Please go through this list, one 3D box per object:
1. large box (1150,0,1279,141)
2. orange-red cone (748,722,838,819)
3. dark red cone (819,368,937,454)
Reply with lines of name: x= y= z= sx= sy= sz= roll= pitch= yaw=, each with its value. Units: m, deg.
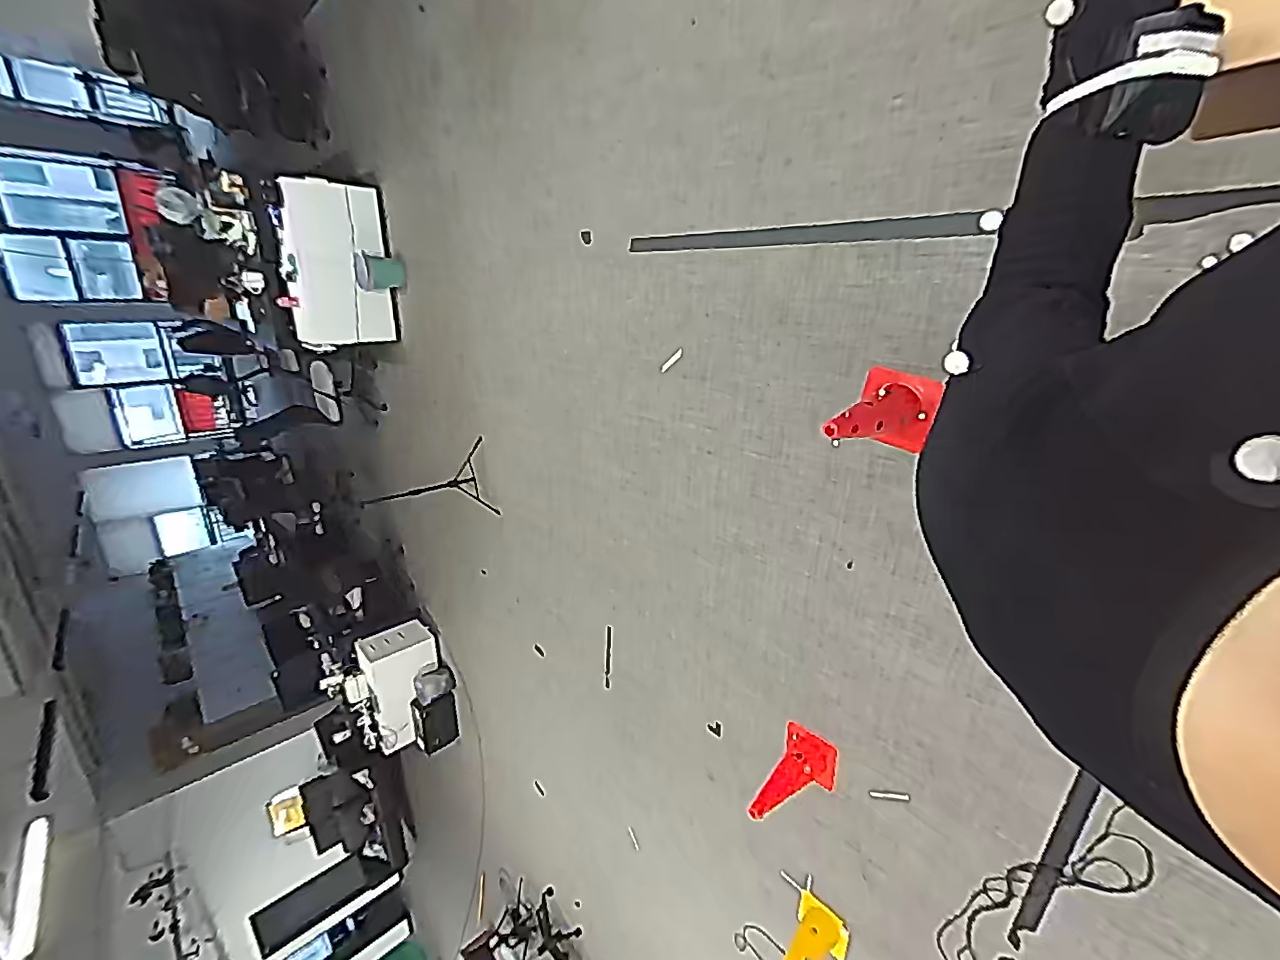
large box: x=0.592 y=-0.427 z=0.292 sx=0.408 sy=0.320 sz=0.320 roll=16 pitch=117 yaw=45
orange-red cone: x=0.496 y=1.041 z=1.855 sx=0.198 sy=0.360 sz=0.199 roll=19 pitch=118 yaw=45
dark red cone: x=0.558 y=-0.154 z=1.346 sx=0.201 sy=0.394 sz=0.202 roll=28 pitch=122 yaw=40
